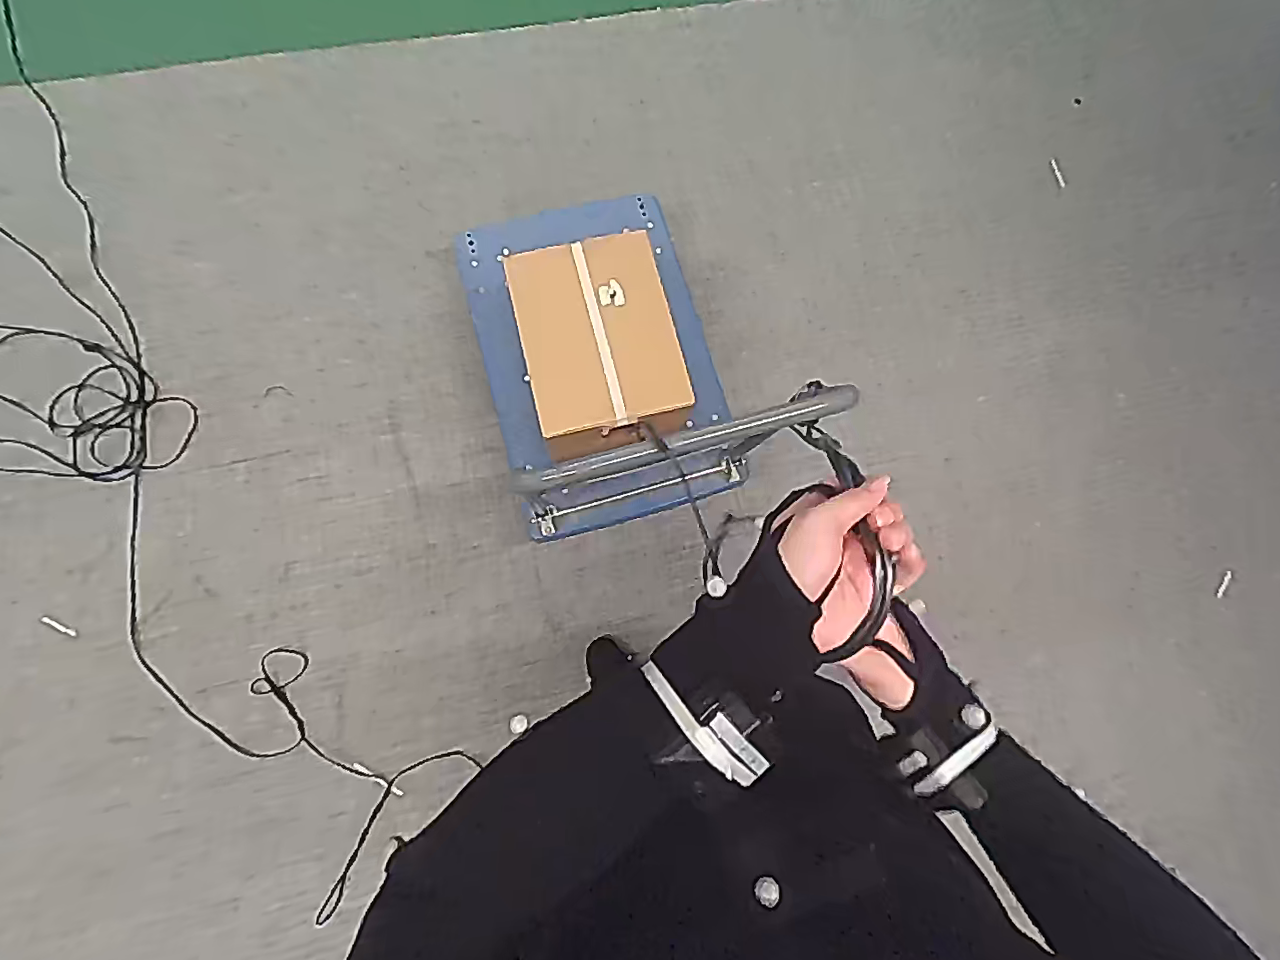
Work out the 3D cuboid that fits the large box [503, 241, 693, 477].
[{"bbox_3d":[-0.096,-0.259,1.251,0.320,0.320,0.408,-13,78,-7],"label":"large box"}]
